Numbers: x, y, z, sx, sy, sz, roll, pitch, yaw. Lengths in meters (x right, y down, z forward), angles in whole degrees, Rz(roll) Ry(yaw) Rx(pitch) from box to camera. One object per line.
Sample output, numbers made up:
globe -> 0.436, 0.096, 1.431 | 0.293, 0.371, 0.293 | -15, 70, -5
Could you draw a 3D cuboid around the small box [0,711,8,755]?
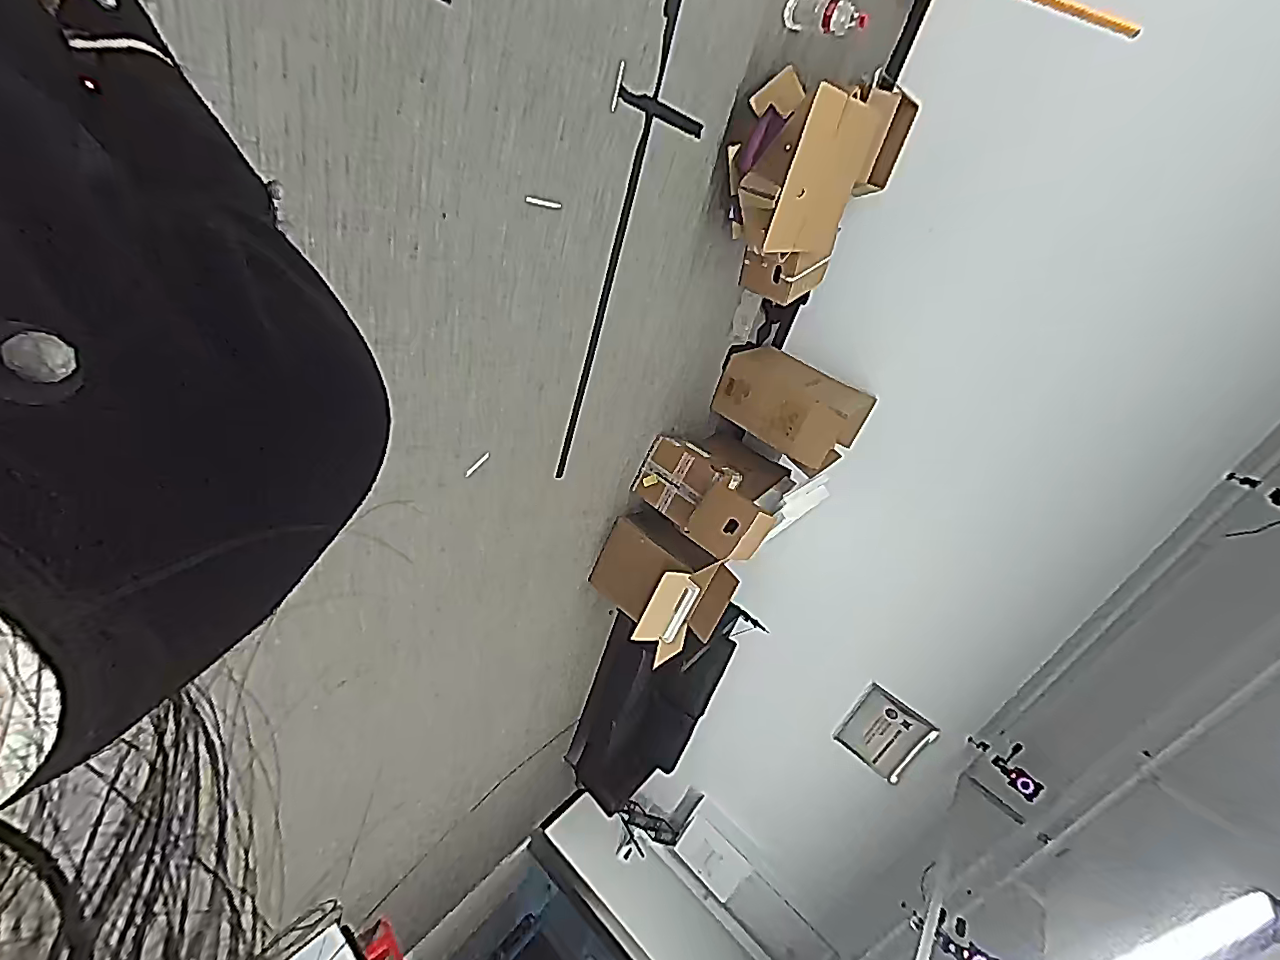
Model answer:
small box -> -1.569, 0.542, 1.206 | 0.179, 0.176, 0.168 | -16, 134, -54
